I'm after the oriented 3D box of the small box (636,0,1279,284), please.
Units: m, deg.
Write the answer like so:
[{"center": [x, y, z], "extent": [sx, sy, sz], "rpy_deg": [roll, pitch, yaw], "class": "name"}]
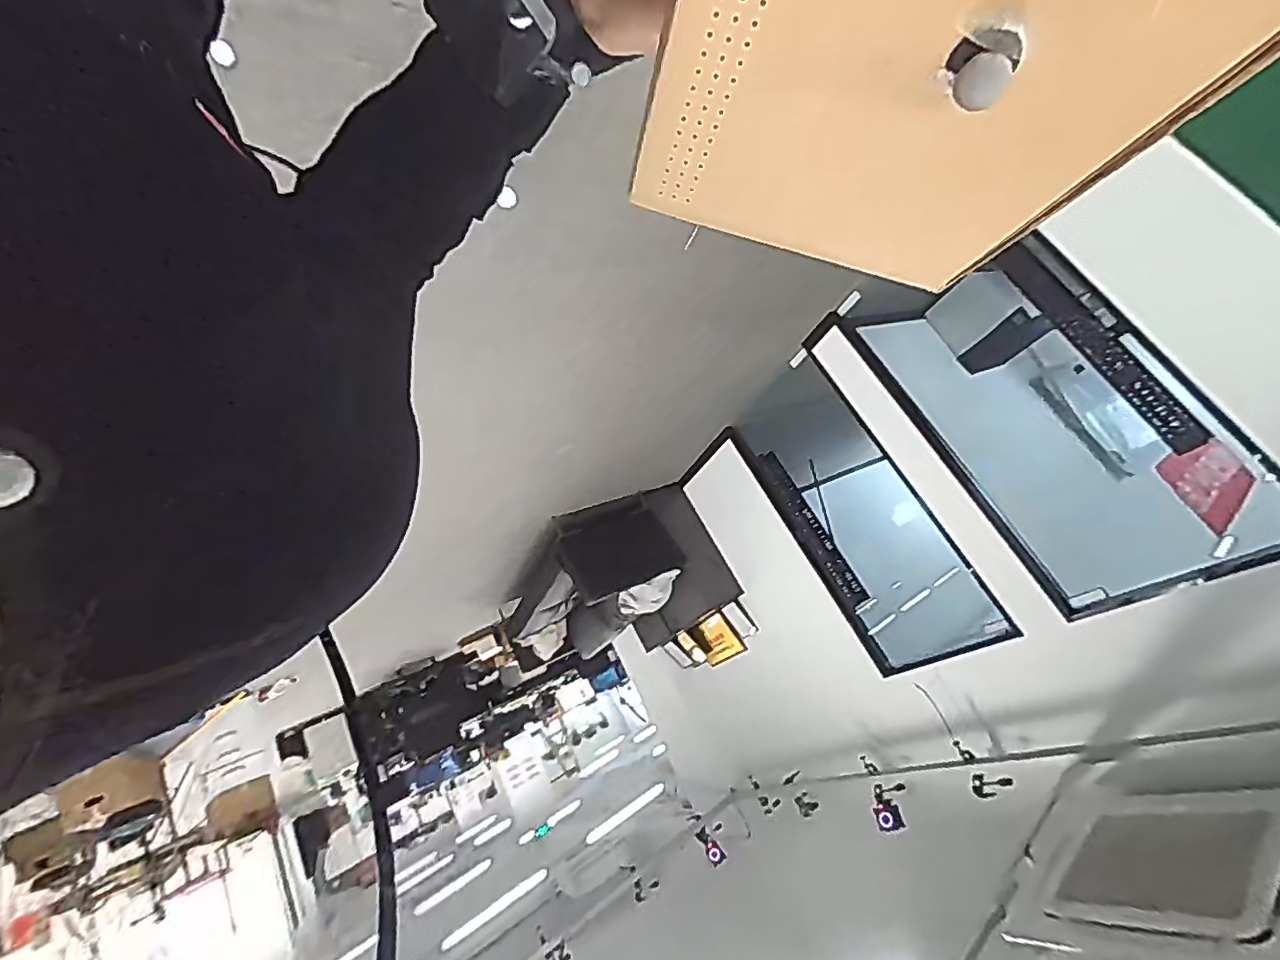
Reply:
[{"center": [0.099, -0.212, 0.213], "extent": [0.176, 0.168, 0.179], "rpy_deg": [12, 166, -7], "class": "small box"}]
